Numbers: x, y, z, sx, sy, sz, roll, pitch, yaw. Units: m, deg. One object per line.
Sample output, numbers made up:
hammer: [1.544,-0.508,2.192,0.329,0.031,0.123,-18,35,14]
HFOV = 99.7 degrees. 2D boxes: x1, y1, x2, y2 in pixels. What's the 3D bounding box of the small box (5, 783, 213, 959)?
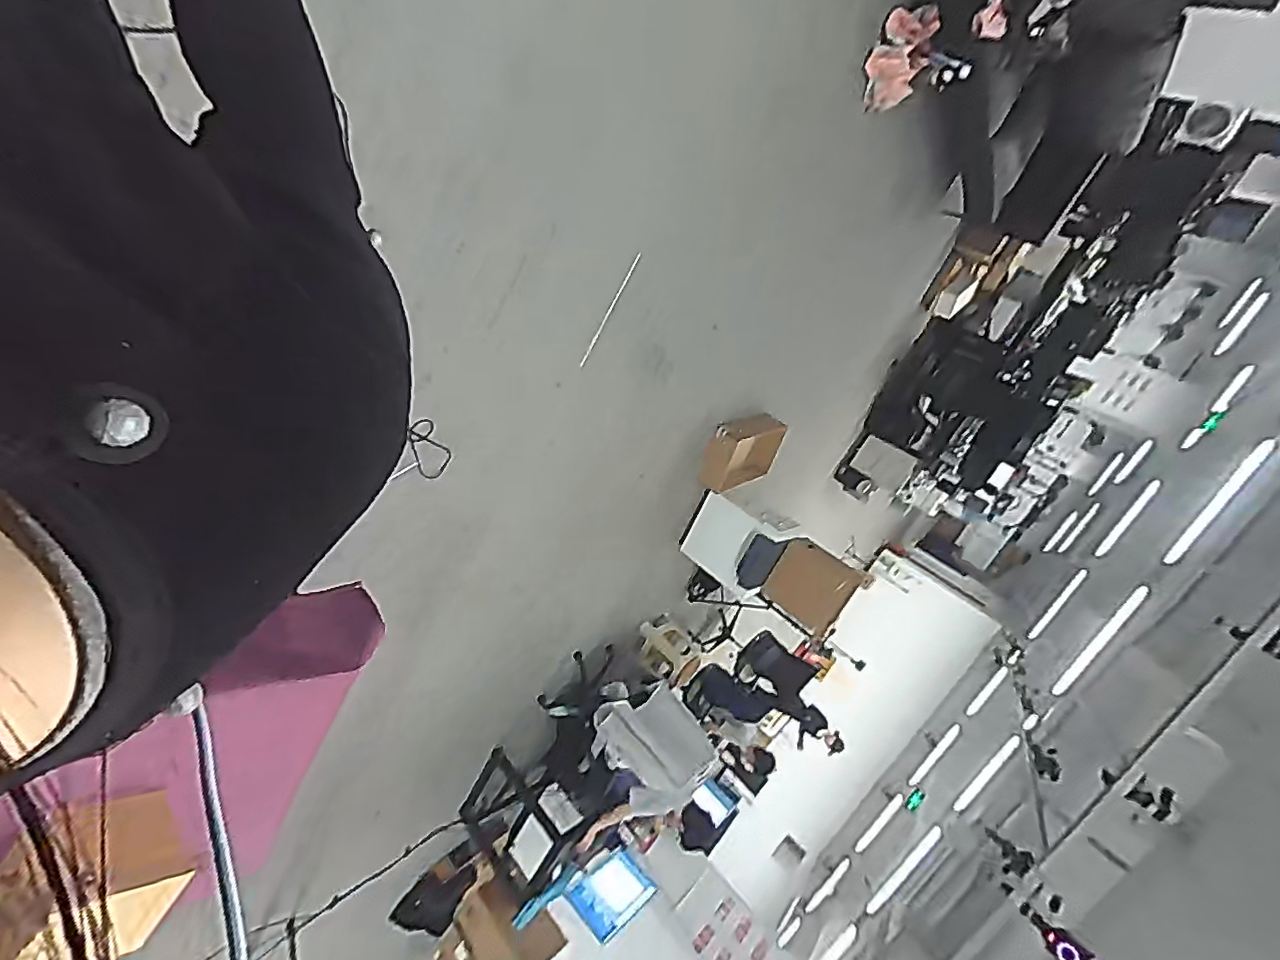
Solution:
small box: [-0.838,0.616,0.856,0.168,0.176,0.179,-54,149,2]
